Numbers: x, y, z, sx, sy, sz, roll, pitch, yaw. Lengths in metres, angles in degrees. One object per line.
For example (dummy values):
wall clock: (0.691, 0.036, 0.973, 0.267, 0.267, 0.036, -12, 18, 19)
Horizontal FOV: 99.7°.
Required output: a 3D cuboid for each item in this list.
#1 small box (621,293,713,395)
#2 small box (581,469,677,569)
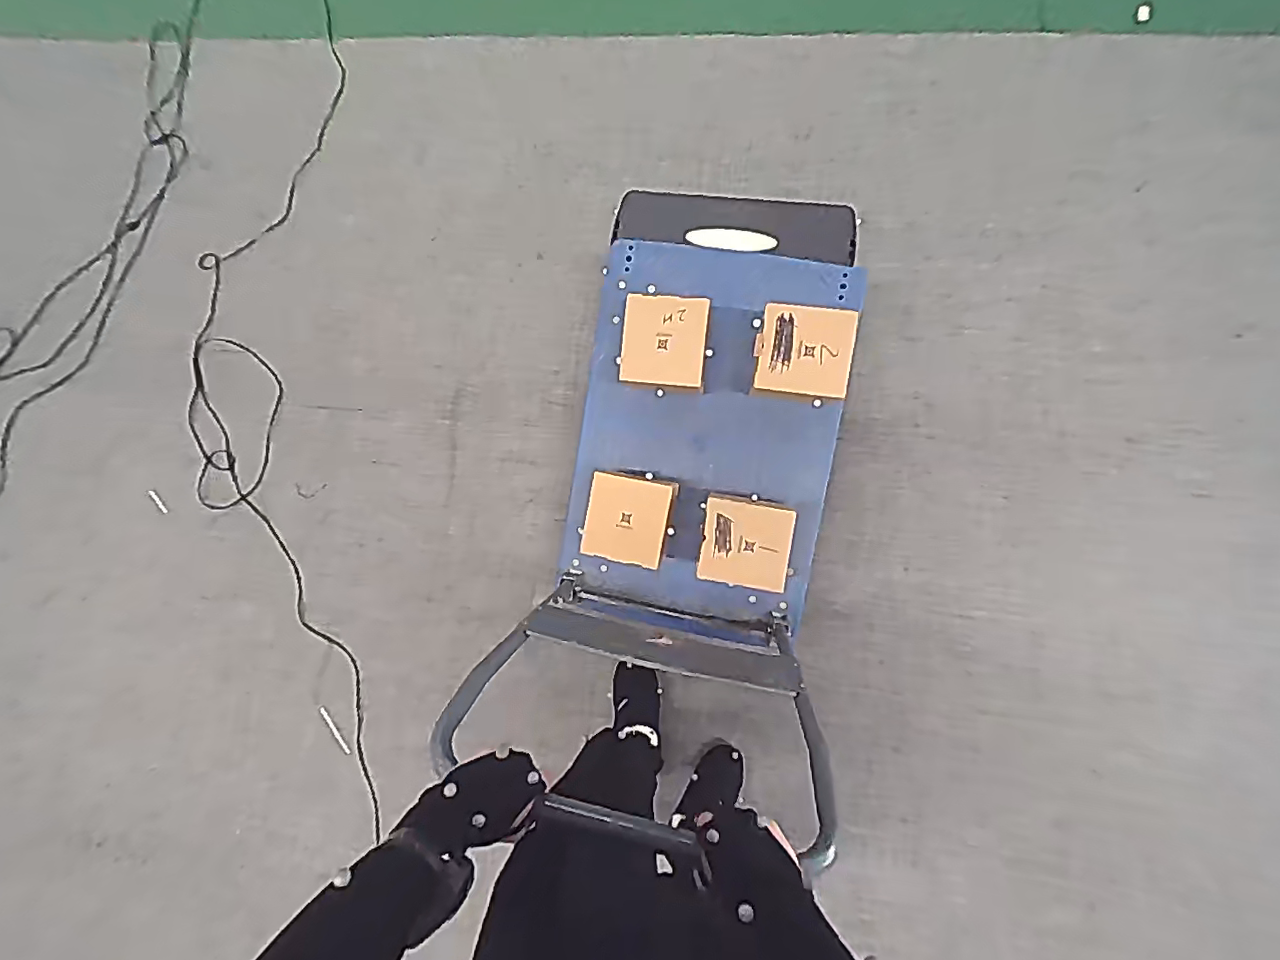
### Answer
small box: (0.063, -0.280, 1.148, 0.168, 0.176, 0.179, 7, 94, 7)
small box: (-0.017, 0.076, 1.177, 0.168, 0.176, 0.179, 12, 95, 7)
